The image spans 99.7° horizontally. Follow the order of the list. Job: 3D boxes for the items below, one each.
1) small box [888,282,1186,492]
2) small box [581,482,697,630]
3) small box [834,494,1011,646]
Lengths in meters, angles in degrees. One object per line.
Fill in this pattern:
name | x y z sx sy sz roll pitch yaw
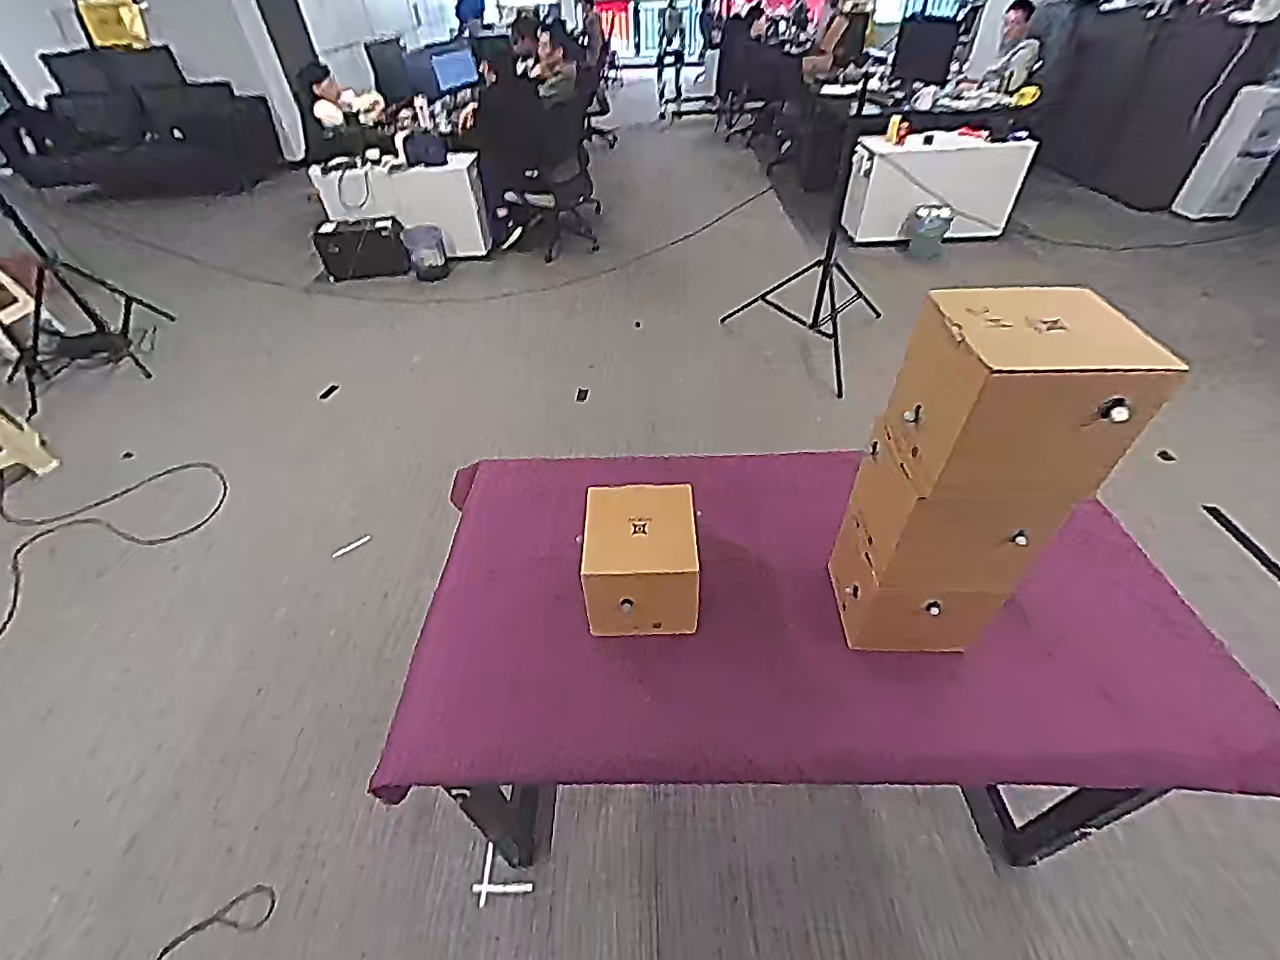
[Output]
small box | 0.401 -0.099 0.590 0.179 0.176 0.168 -1 43 3
small box | 0.003 0.124 0.858 0.168 0.176 0.179 -2 43 1
small box | 0.405 0.138 0.819 0.179 0.176 0.168 0 44 3
